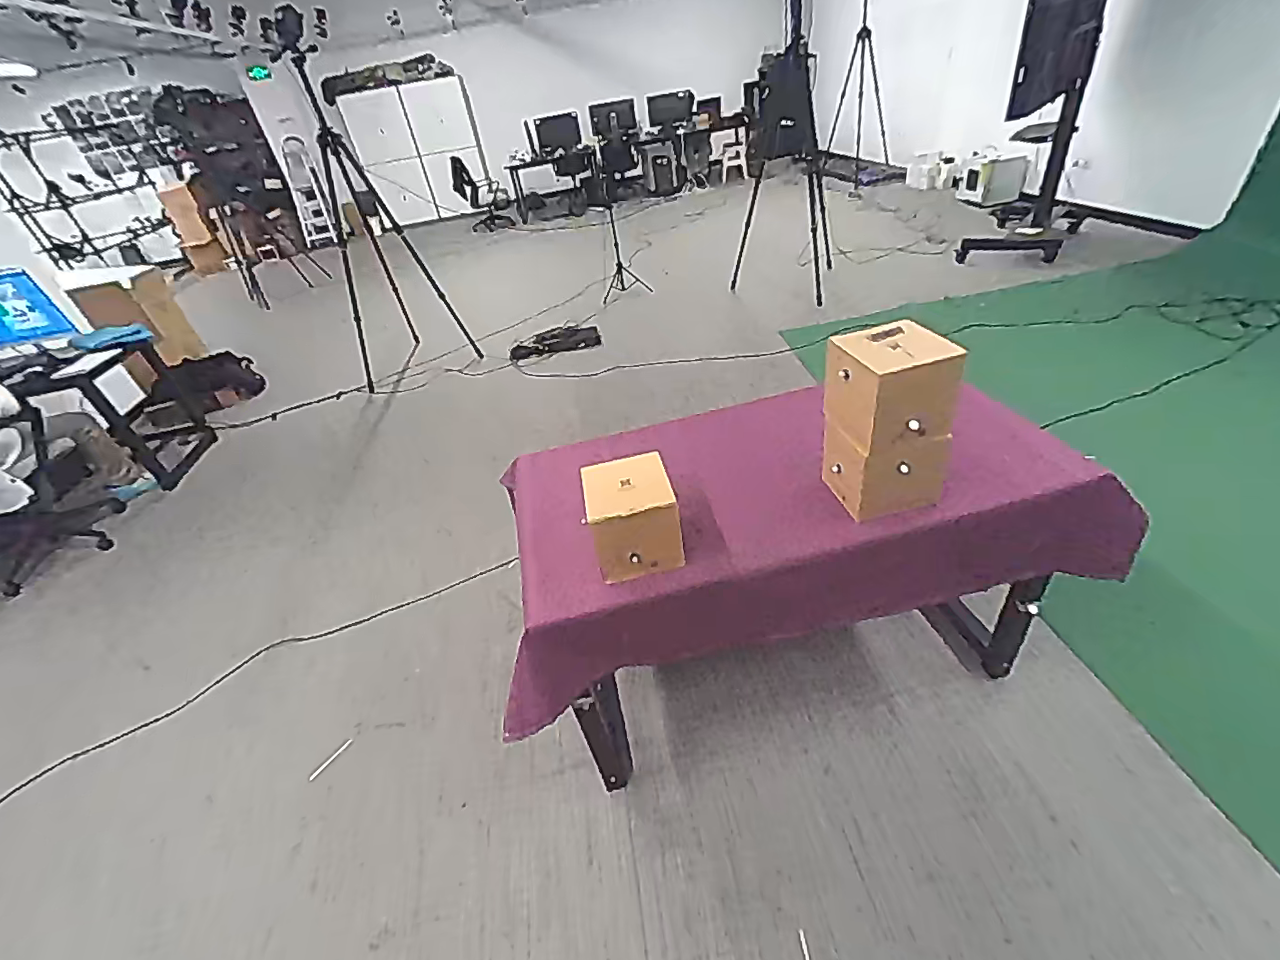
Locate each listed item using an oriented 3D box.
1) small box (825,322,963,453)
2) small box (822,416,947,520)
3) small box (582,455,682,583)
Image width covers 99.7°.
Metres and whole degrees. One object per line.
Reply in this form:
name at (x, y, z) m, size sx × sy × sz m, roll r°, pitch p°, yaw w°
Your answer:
small box at (0.463, -0.175, 1.020) m, size 0.168 × 0.176 × 0.179 m, roll -15°, pitch 37°, yaw -4°
small box at (0.491, -0.040, 1.111) m, size 0.179 × 0.176 × 0.168 m, roll -13°, pitch 37°, yaw -3°
small box at (-0.017, 0.078, 1.088) m, size 0.168 × 0.176 × 0.179 m, roll -13°, pitch 37°, yaw -3°
